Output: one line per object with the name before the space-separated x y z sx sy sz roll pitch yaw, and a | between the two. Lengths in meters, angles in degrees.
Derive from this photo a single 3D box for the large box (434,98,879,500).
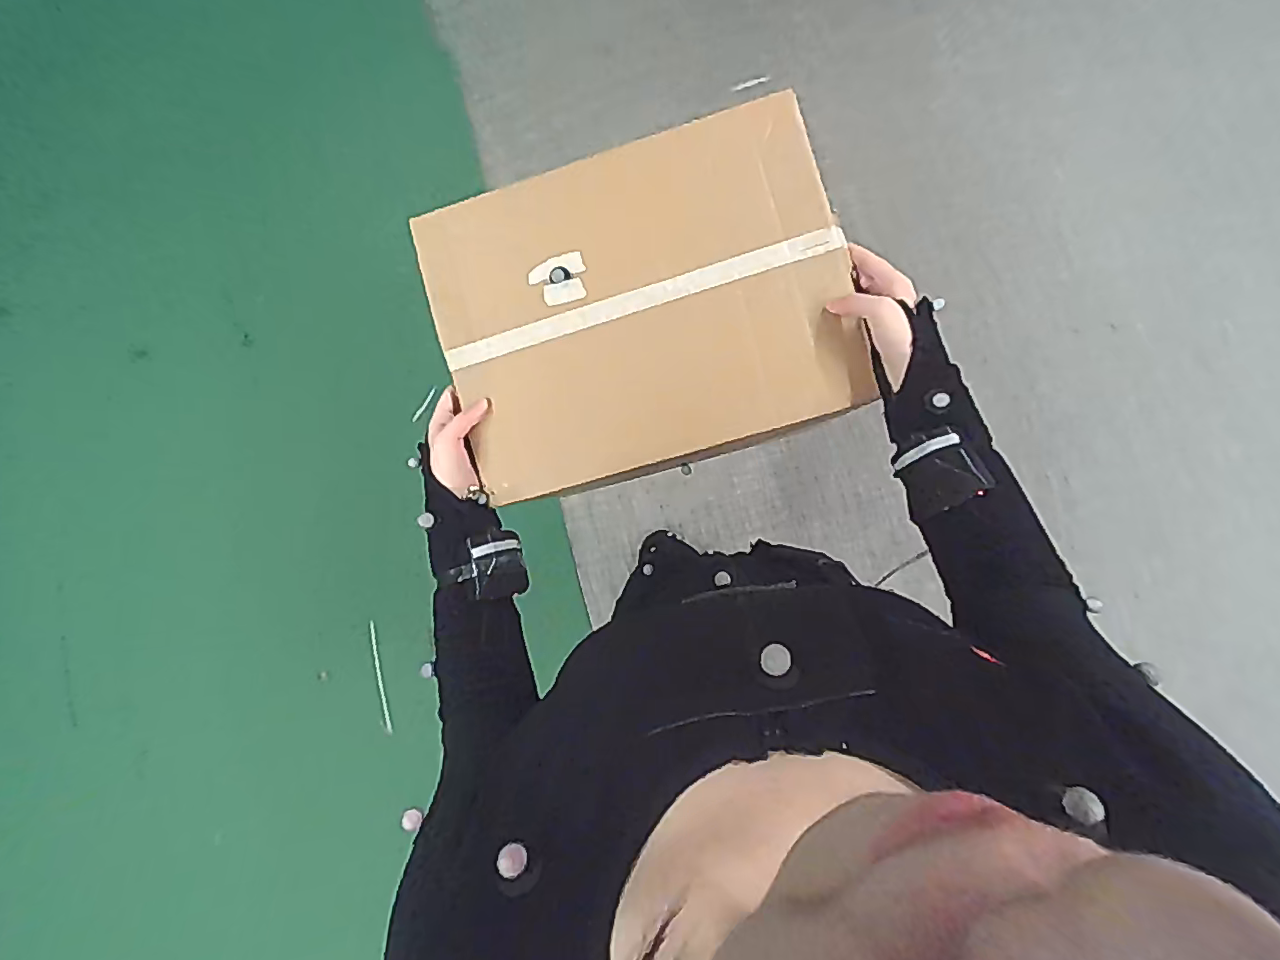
large box | 0.026 -0.180 0.697 0.408 0.320 0.320 -15 88 8
